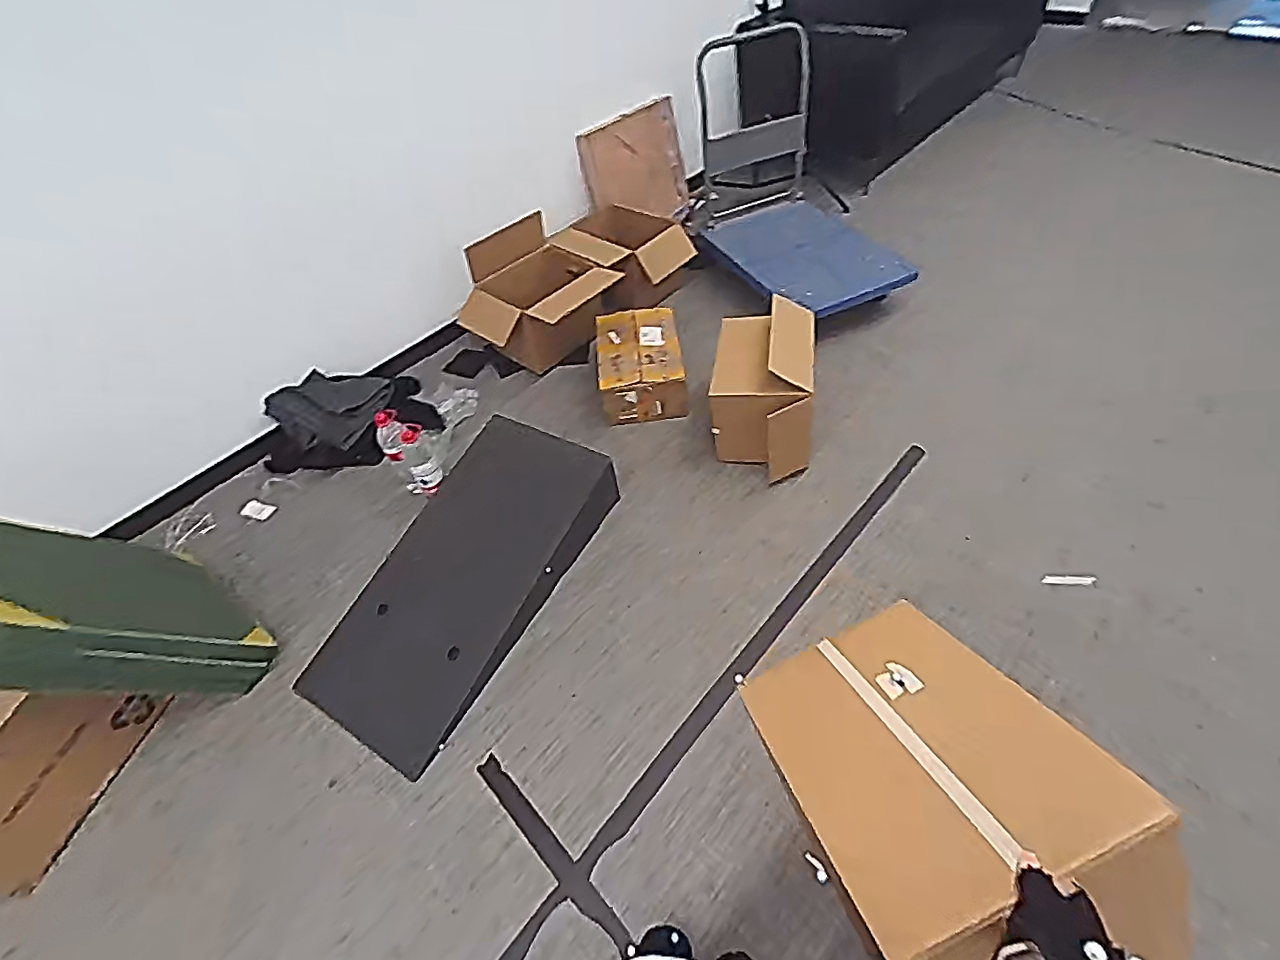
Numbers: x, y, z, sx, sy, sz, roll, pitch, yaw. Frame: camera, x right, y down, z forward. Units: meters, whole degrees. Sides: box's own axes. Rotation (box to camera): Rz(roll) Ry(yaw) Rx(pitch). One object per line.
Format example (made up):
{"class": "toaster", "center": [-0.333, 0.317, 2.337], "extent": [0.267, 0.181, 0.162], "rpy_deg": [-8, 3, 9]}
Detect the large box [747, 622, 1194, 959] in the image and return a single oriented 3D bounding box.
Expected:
{"class": "large box", "center": [0.404, 0.475, 0.739], "extent": [0.320, 0.320, 0.408], "rpy_deg": [-24, 18, -3]}
